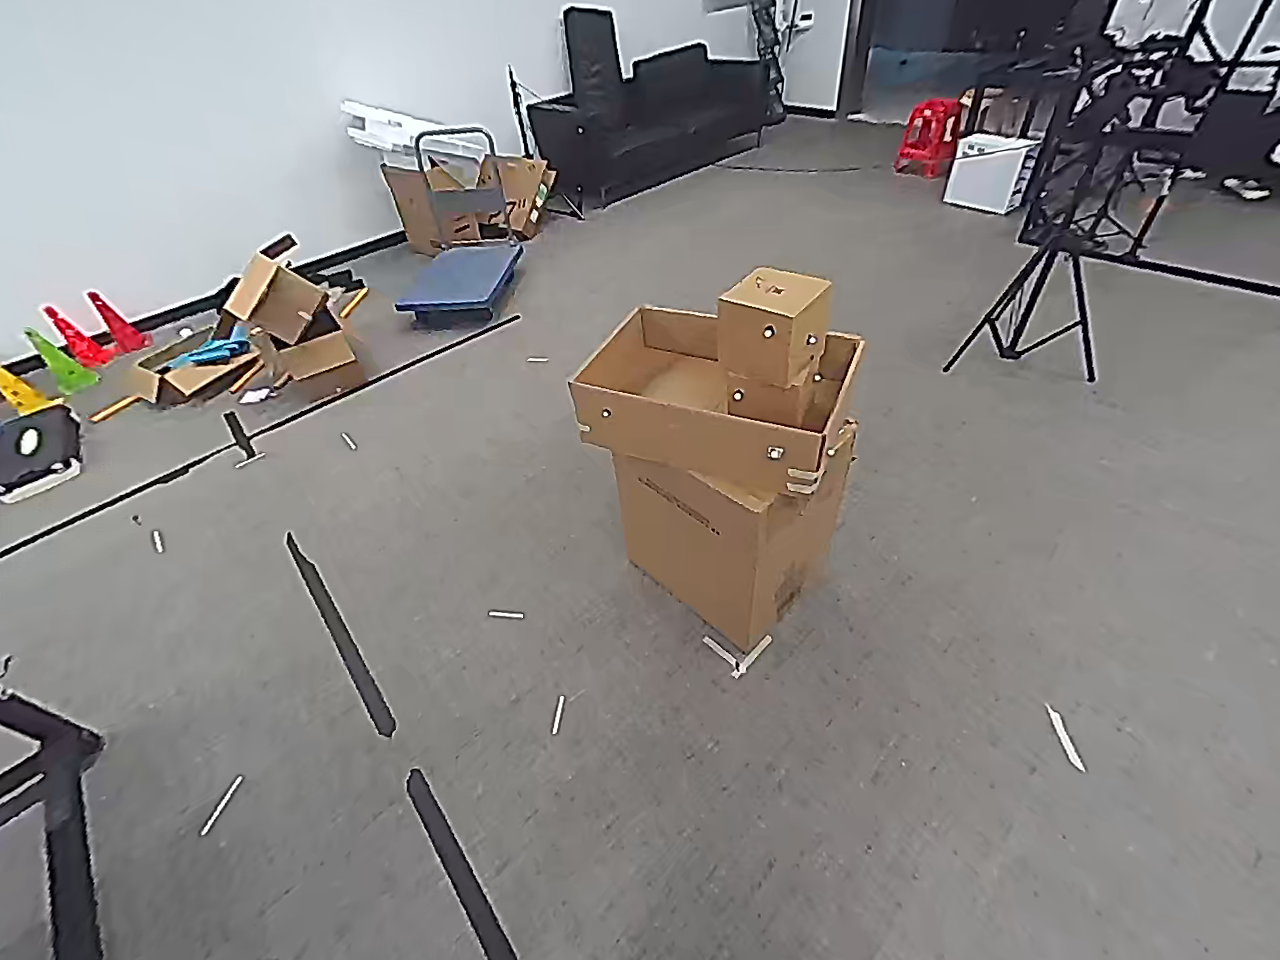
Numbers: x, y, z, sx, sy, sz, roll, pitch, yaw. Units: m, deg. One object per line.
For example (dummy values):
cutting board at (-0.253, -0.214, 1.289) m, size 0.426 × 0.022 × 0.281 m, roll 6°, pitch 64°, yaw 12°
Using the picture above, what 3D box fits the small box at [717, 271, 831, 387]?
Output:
small box at (0.284, -0.322, 1.164) m, size 0.179 × 0.176 × 0.168 m, roll 26°, pitch 54°, yaw 32°
